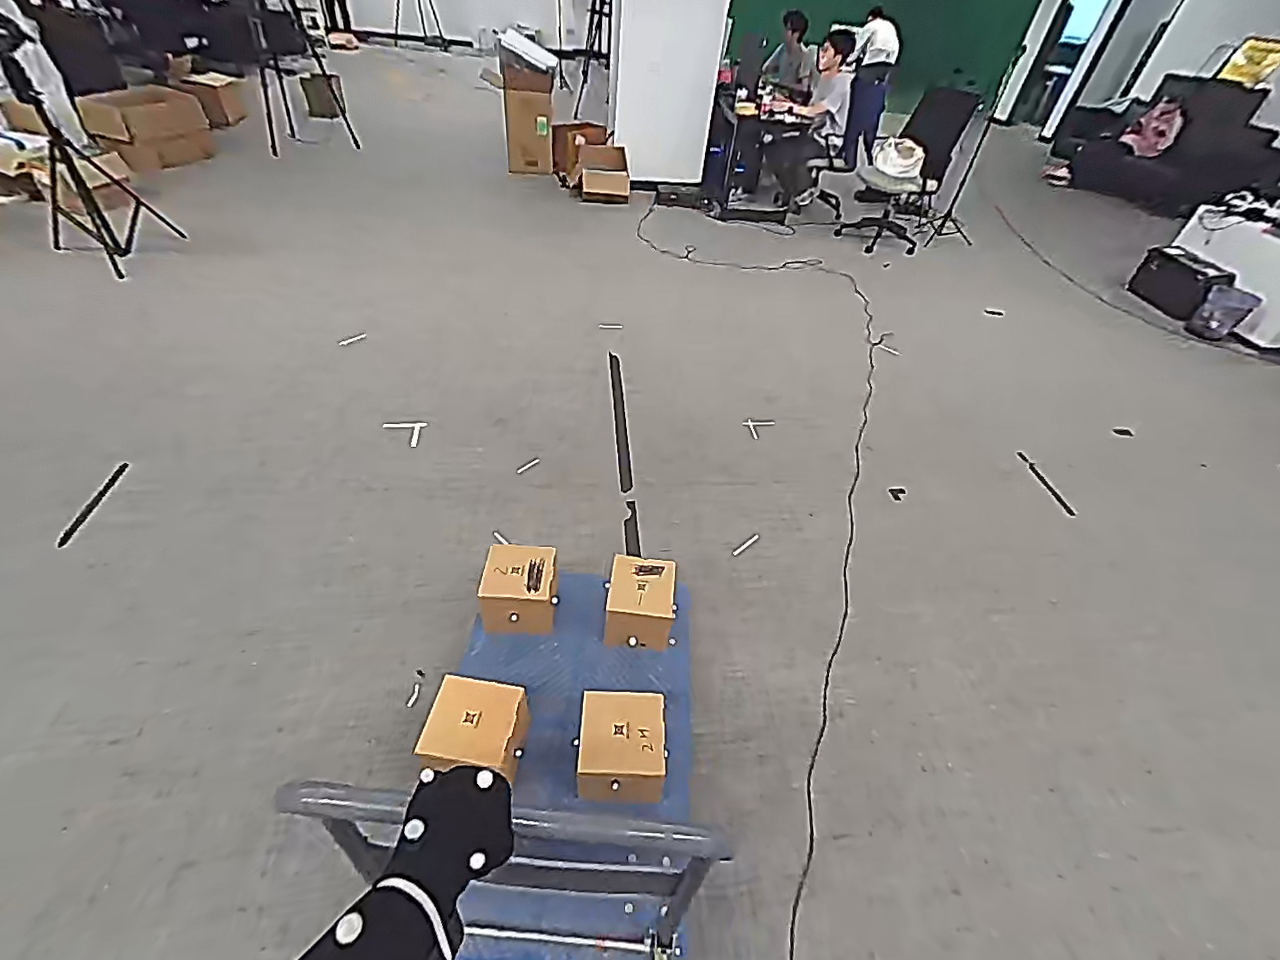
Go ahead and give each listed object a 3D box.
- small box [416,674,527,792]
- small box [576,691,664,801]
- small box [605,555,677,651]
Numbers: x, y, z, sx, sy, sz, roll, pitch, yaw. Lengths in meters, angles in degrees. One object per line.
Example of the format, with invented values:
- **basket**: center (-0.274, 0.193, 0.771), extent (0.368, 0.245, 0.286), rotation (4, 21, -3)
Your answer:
- **small box**: center (-0.350, 0.545, 1.160), extent (0.179, 0.176, 0.168), rotation (10, 43, 1)
- **small box**: center (-0.042, 0.575, 1.166), extent (0.179, 0.176, 0.168), rotation (4, 43, -2)
- **small box**: center (0.000, 0.326, 1.433), extent (0.168, 0.176, 0.179), rotation (8, 44, 1)
